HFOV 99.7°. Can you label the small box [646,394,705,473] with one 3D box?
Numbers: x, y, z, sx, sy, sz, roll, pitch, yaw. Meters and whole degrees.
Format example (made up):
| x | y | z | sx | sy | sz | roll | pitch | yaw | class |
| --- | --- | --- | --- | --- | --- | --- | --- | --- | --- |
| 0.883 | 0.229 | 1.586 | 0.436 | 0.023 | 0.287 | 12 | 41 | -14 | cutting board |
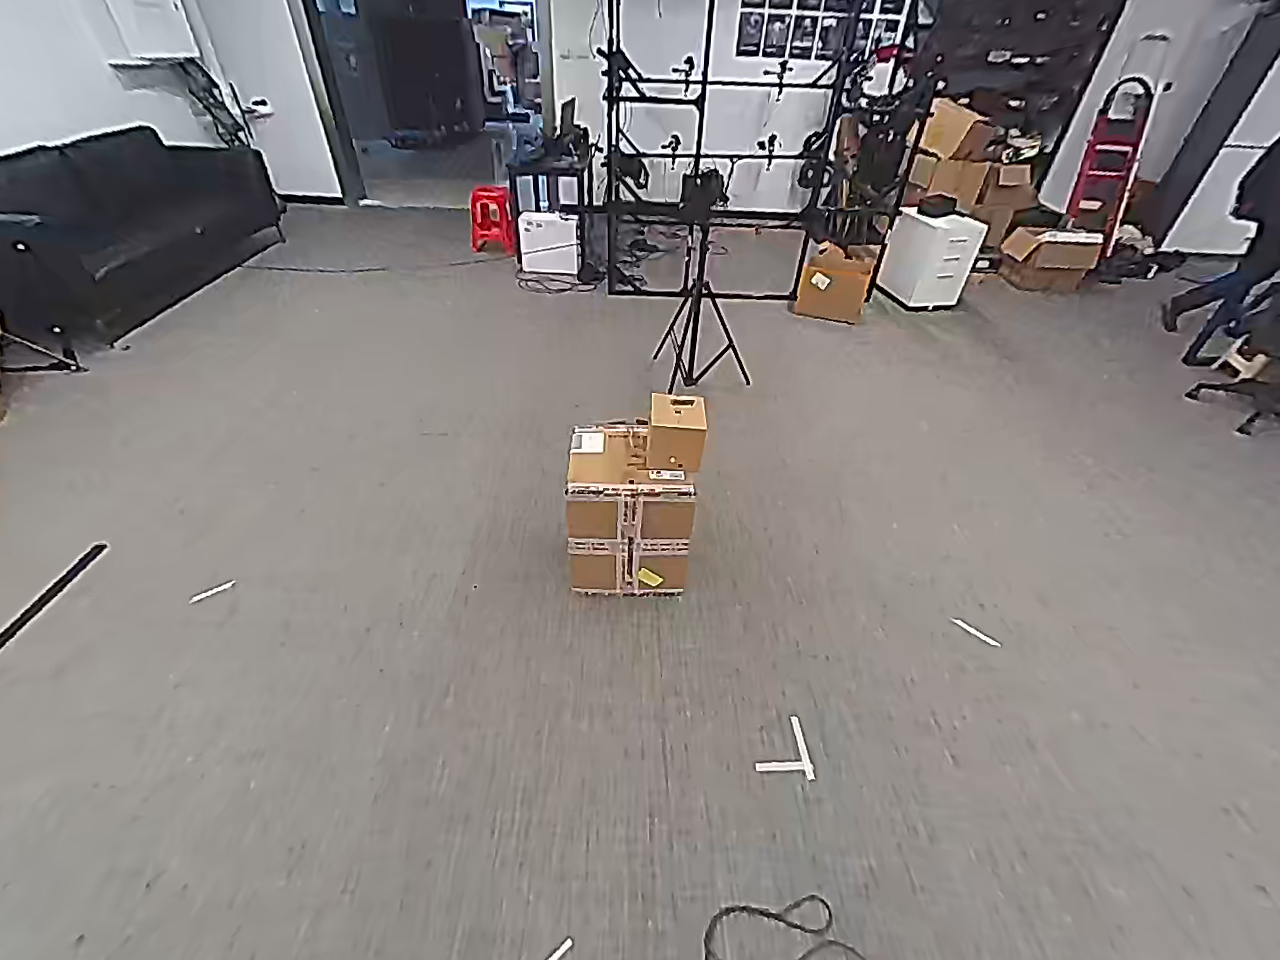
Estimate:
| x | y | z | sx | sy | sz | roll | pitch | yaw | class |
| --- | --- | --- | --- | --- | --- | --- | --- | --- | --- |
| 0.106 | -0.144 | 1.685 | 0.168 | 0.176 | 0.179 | 4 | 42 | -2 | small box |
